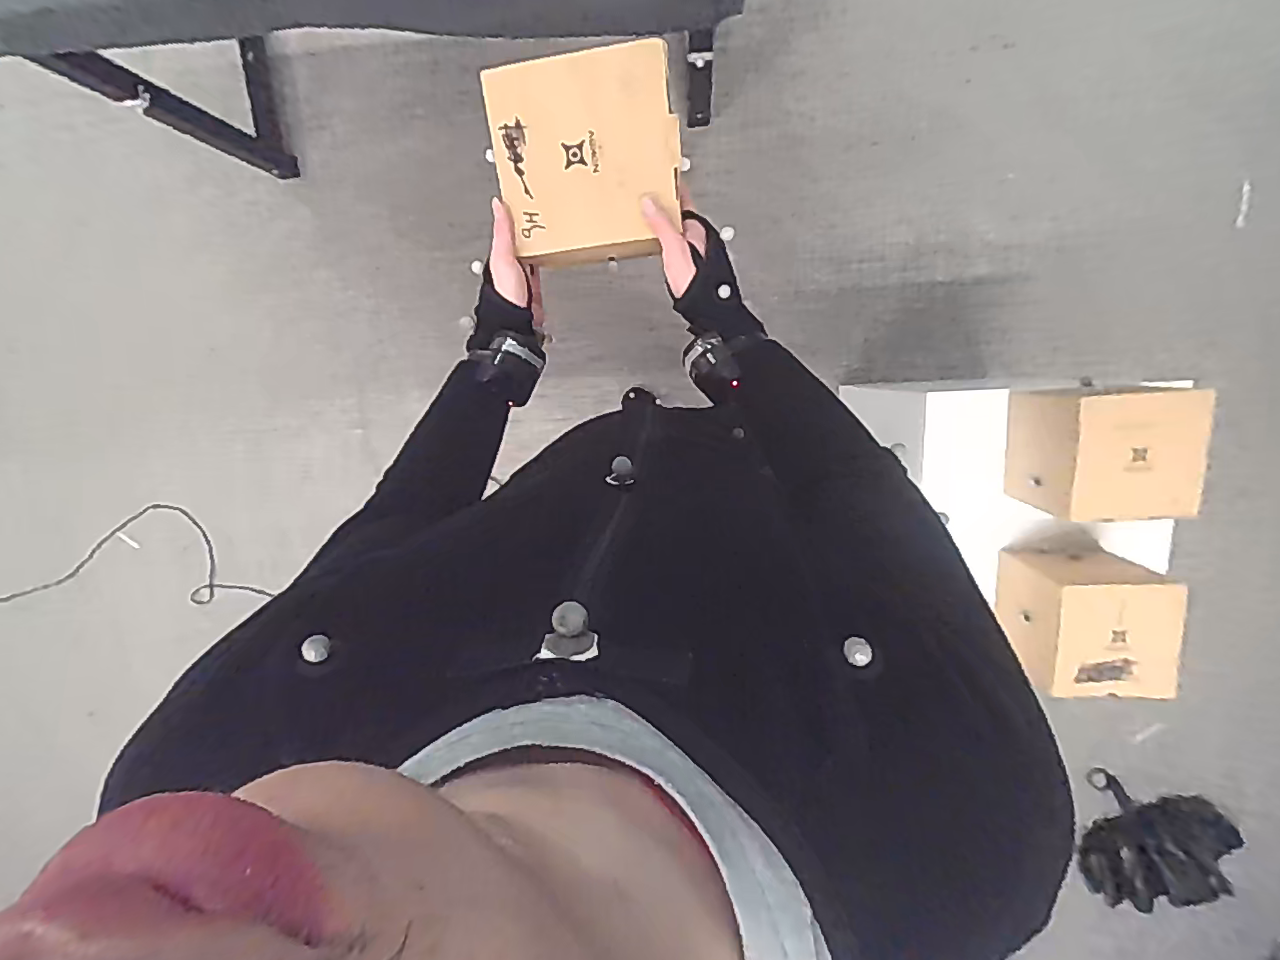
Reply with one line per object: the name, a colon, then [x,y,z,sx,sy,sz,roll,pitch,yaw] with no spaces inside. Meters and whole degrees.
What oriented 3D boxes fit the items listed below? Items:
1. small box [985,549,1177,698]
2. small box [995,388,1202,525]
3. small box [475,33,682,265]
small box: [0.676,0.219,0.853,0.168,0.176,0.179,-2,100,4]
small box: [0.662,-0.042,0.806,0.168,0.176,0.179,-4,100,3]
small box: [-0.053,-0.331,0.576,0.179,0.176,0.168,-6,106,3]
